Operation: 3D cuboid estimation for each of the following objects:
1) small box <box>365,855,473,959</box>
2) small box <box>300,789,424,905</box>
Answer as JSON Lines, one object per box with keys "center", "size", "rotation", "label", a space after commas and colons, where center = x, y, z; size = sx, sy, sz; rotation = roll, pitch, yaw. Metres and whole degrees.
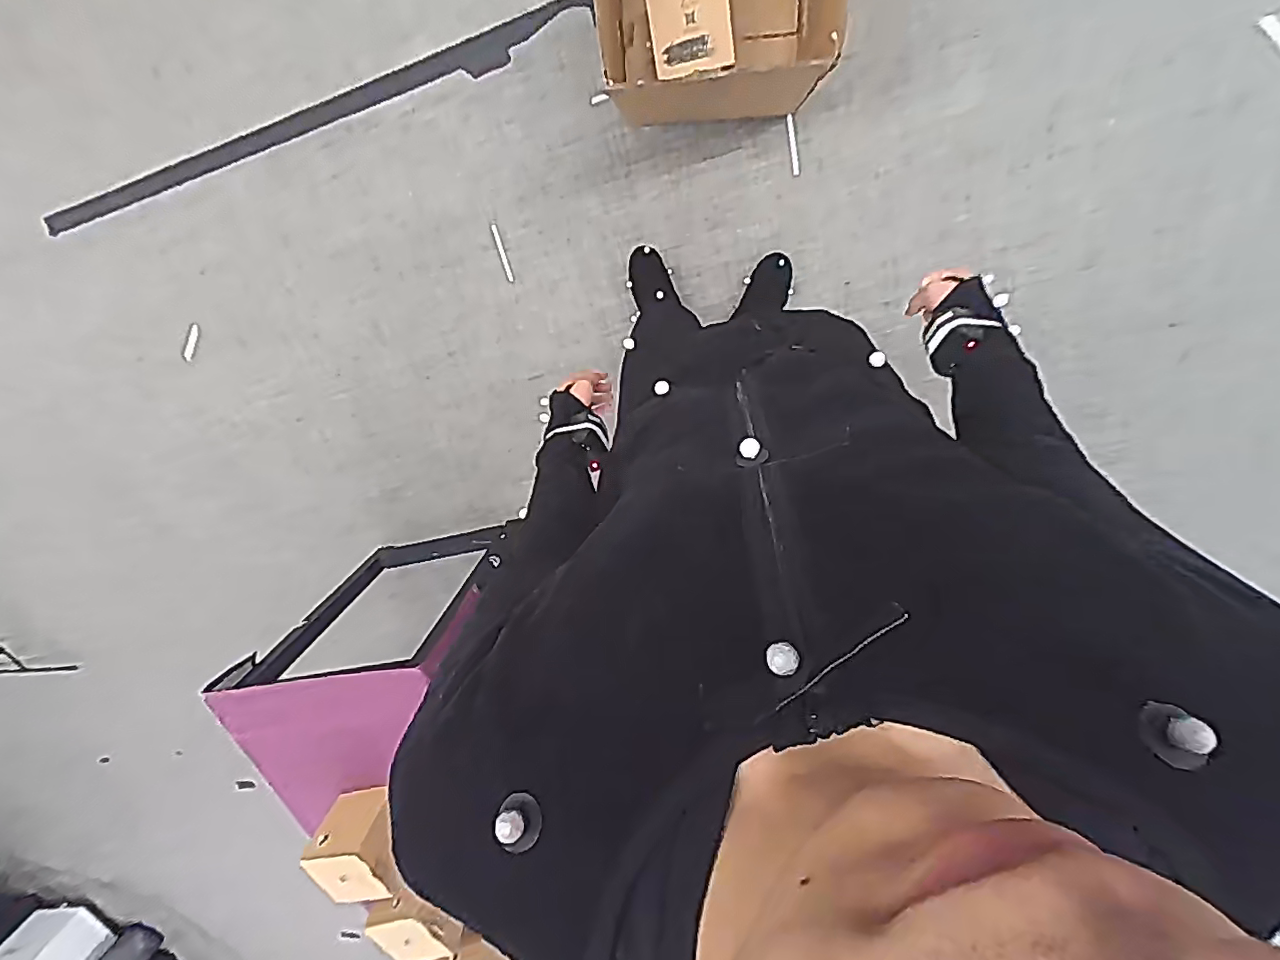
{"center": [-0.565, 1.123, 1.419], "size": [0.179, 0.176, 0.168], "rotation": [-25, 108, 17], "label": "small box"}
{"center": [-0.671, 0.897, 1.328], "size": [0.179, 0.176, 0.168], "rotation": [-17, 111, 14], "label": "small box"}
